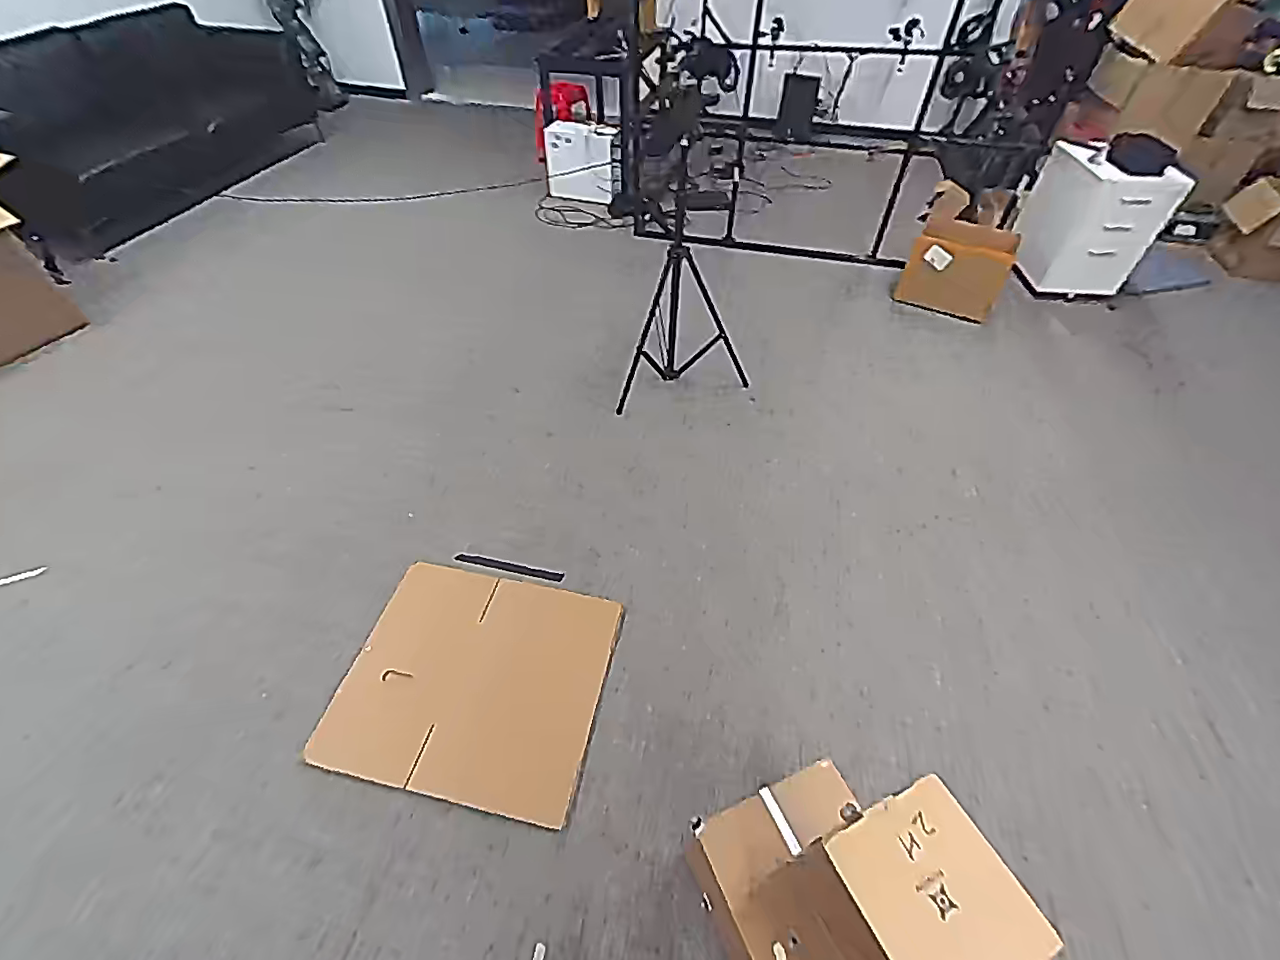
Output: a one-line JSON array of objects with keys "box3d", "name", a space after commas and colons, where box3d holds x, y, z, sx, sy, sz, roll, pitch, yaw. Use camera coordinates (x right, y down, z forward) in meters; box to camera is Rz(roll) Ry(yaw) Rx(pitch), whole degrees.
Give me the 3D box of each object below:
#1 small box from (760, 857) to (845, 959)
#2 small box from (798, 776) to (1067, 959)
[{"box3d": [0.313, 0.695, 0.862, 0.168, 0.176, 0.179, -21, 53, -16], "name": "small box"}, {"box3d": [0.309, 0.477, 0.614, 0.168, 0.176, 0.179, -20, 52, -17], "name": "small box"}]
